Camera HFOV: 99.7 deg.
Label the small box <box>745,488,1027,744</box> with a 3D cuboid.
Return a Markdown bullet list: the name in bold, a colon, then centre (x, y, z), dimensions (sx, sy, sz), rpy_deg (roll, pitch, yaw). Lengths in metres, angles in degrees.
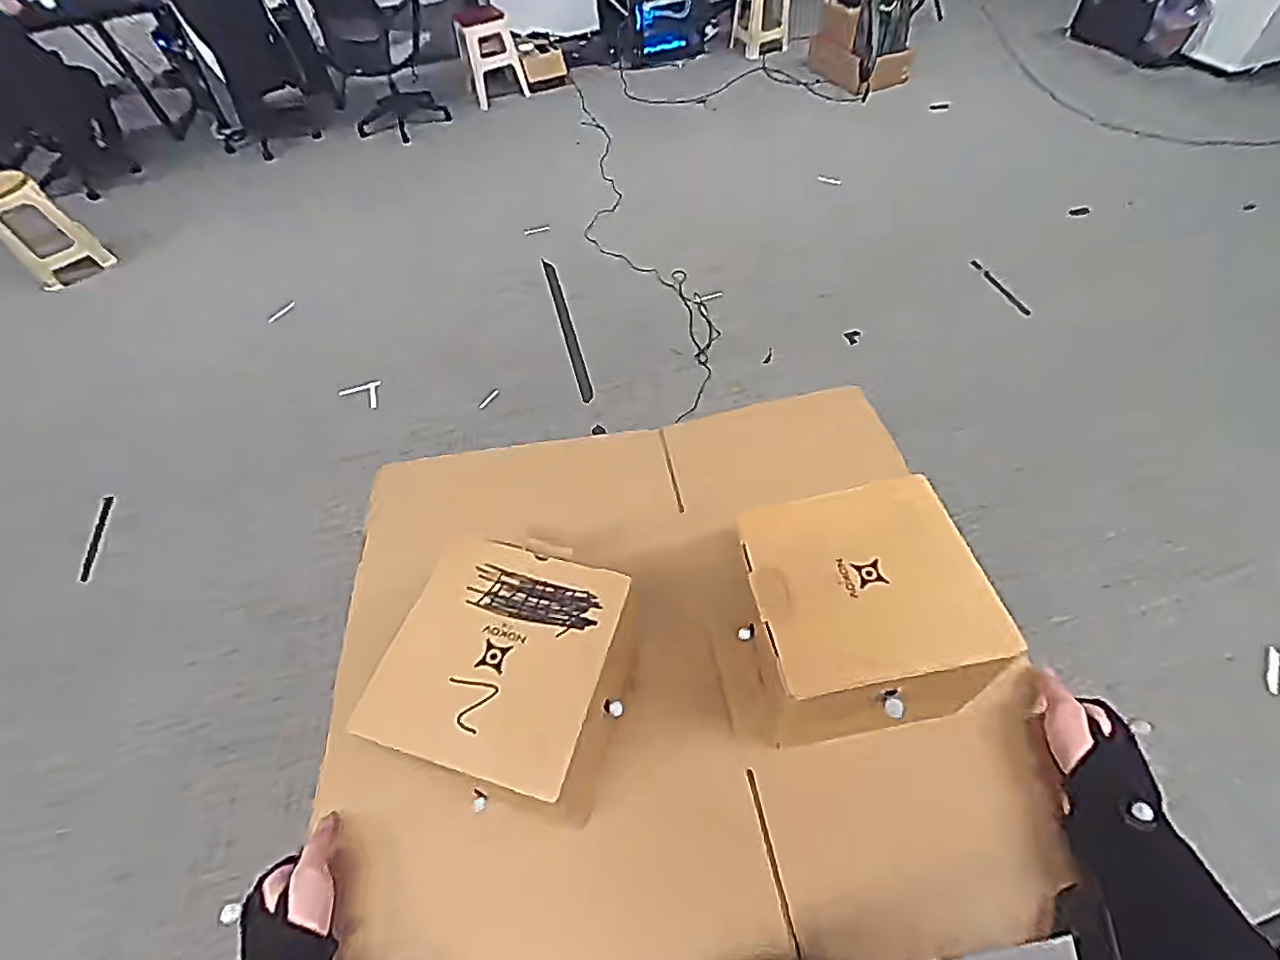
- **small box**: centre (0.203, 0.134, 0.510), dimensions (0.179, 0.176, 0.168), rpy_deg (-12, 52, 2)
